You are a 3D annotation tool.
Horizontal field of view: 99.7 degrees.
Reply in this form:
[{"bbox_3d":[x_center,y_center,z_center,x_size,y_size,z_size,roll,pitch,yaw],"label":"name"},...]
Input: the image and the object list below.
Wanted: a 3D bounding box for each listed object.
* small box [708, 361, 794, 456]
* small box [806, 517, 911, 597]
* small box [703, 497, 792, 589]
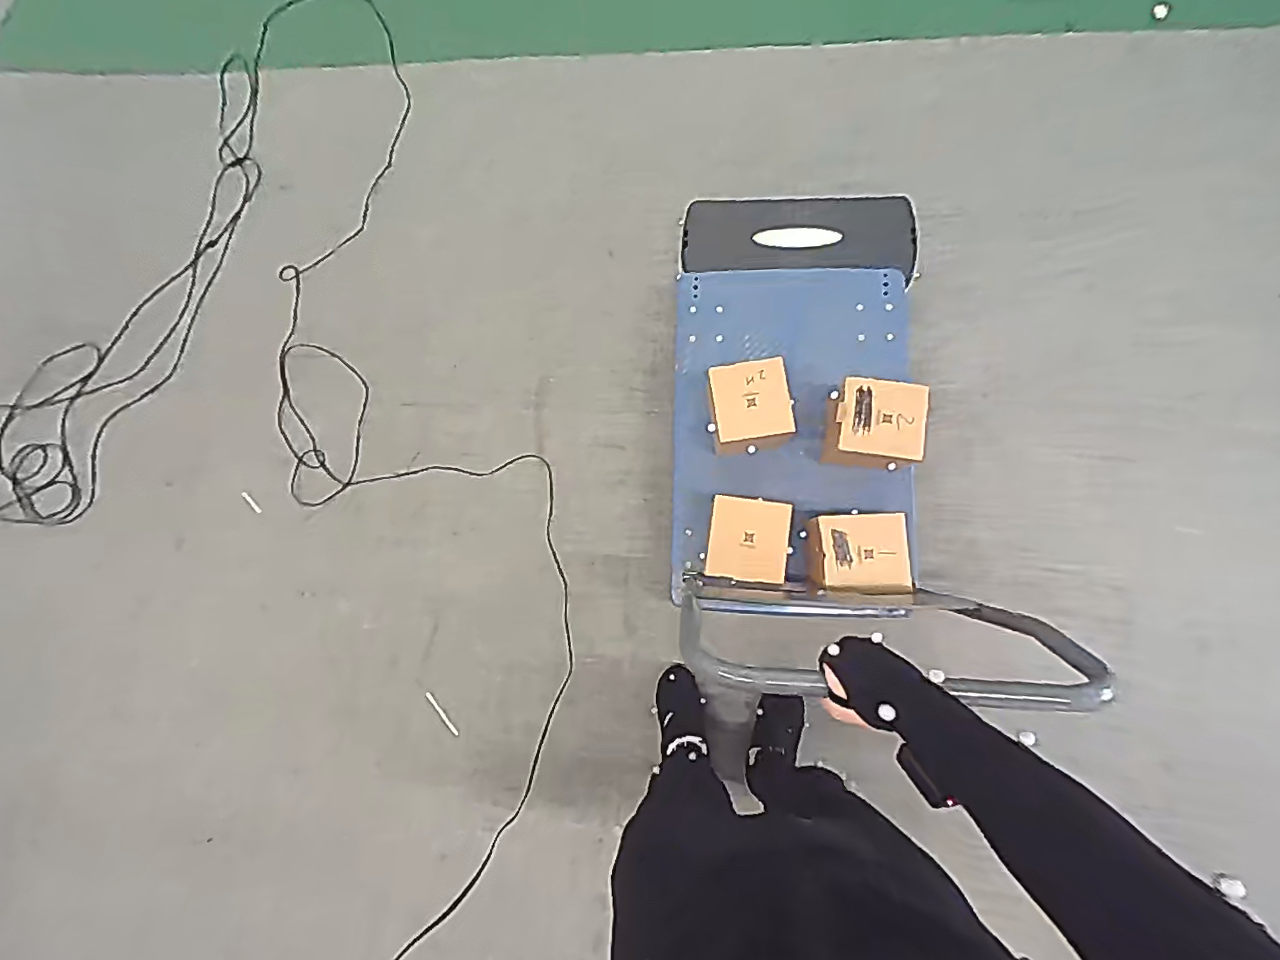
[{"bbox_3d":[0.253,-0.158,1.266,0.168,0.176,0.179,-7,80,3],"label":"small box"},{"bbox_3d":[0.470,0.171,1.192,0.179,0.176,0.168,-2,81,5],"label":"small box"},{"bbox_3d":[0.236,0.143,1.220,0.168,0.176,0.179,8,83,6],"label":"small box"}]
